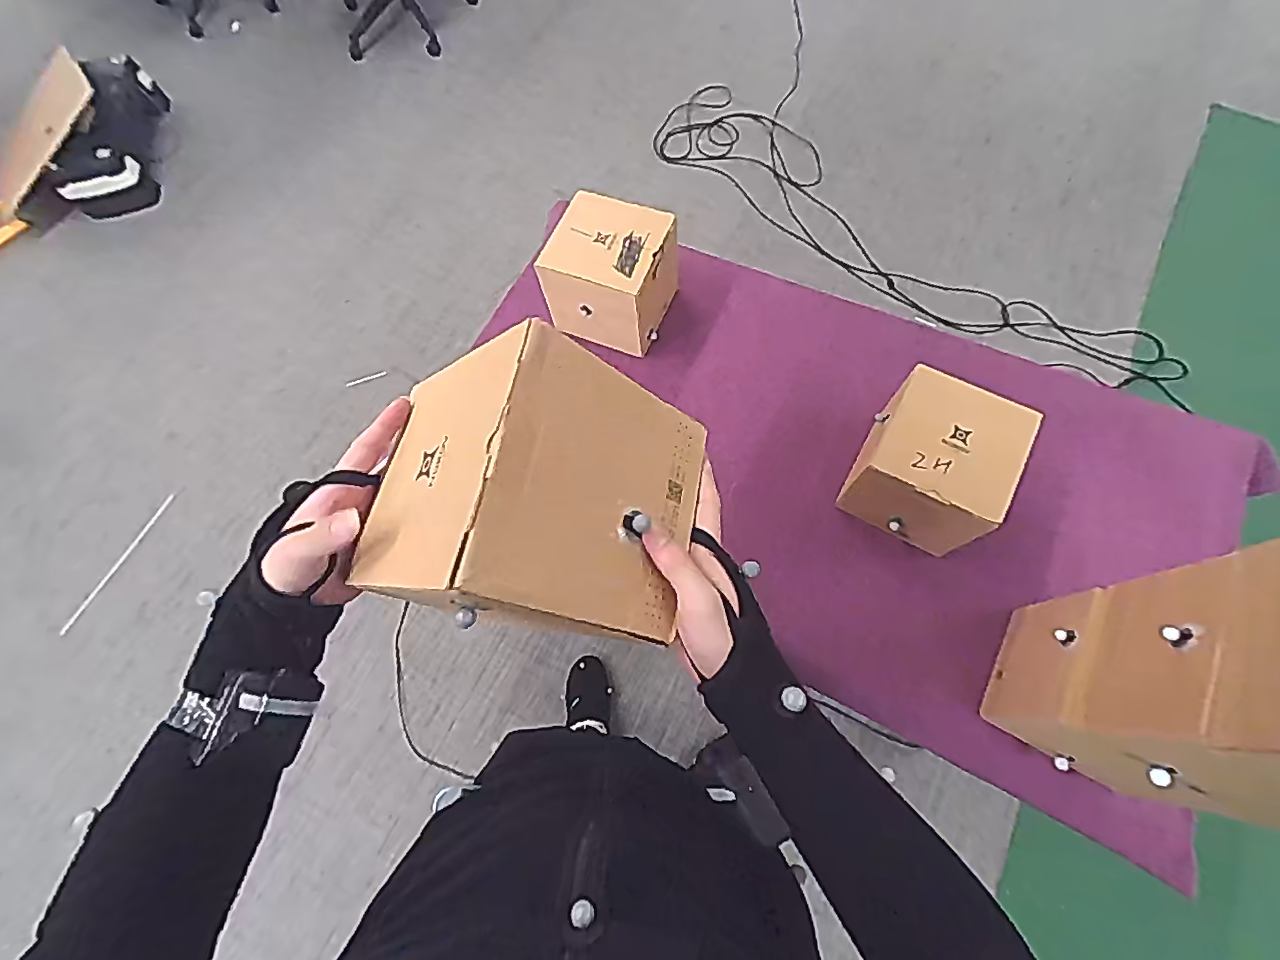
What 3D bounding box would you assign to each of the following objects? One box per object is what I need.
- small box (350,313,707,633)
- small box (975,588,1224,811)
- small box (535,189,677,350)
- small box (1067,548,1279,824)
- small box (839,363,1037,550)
[{"bbox_3d":[-0.076,0.013,0.406,0.179,0.176,0.168,-10,62,43],"label":"small box"},{"bbox_3d":[0.556,0.254,0.654,0.179,0.176,0.168,28,73,13],"label":"small box"},{"bbox_3d":[-0.047,-0.346,0.915,0.179,0.176,0.168,21,72,11],"label":"small box"},{"bbox_3d":[0.549,0.194,0.502,0.168,0.176,0.179,28,73,15],"label":"small box"},{"bbox_3d":[0.407,-0.025,0.769,0.168,0.176,0.179,29,74,14],"label":"small box"}]
